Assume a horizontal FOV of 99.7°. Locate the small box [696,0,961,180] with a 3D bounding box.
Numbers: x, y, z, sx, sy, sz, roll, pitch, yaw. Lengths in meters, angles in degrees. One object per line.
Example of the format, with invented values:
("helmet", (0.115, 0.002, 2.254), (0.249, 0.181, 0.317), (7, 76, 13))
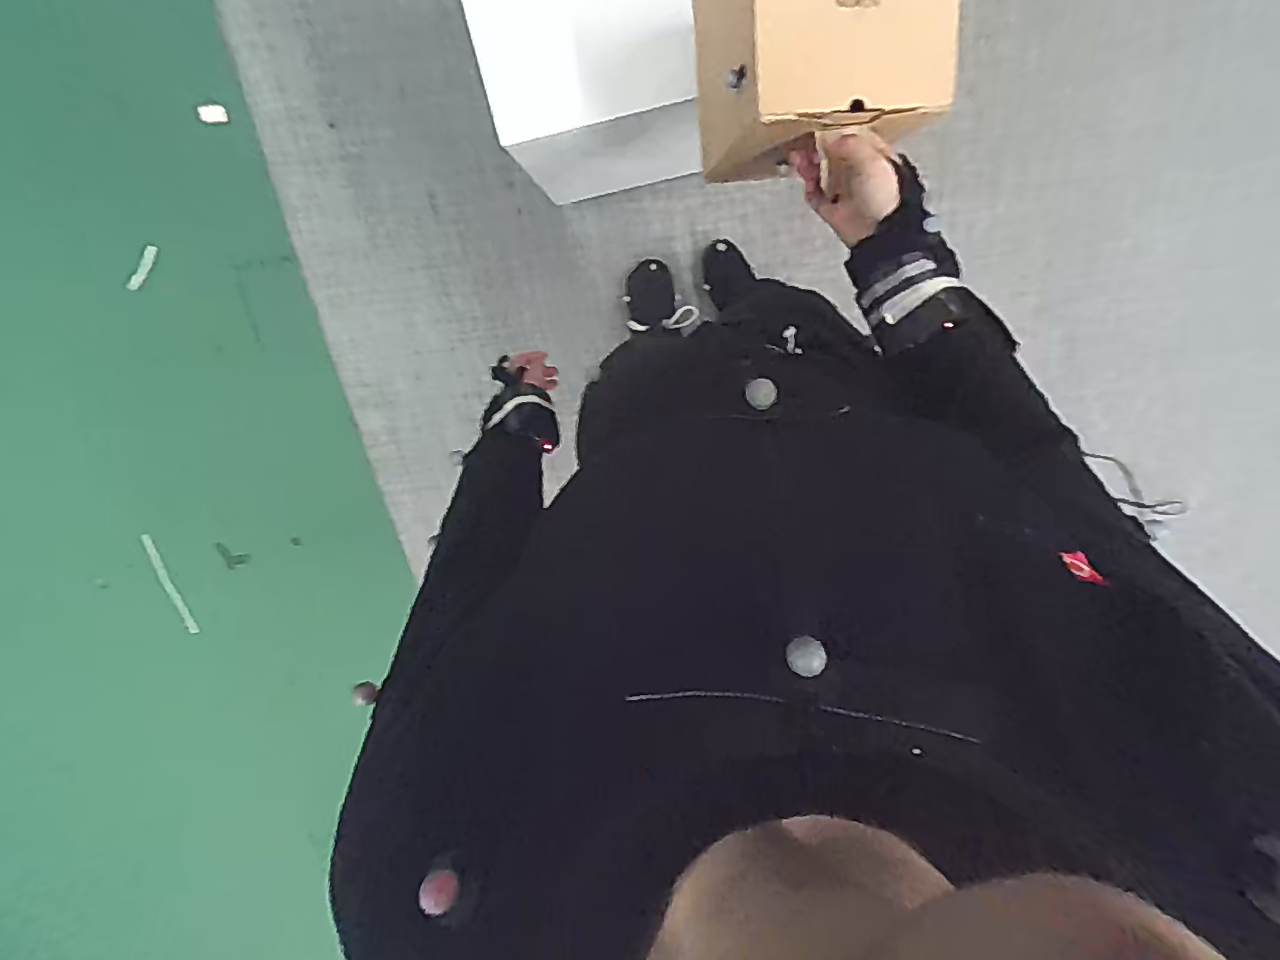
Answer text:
("small box", (0.151, -0.388, 0.477), (0.168, 0.176, 0.179), (-7, 105, -7))
